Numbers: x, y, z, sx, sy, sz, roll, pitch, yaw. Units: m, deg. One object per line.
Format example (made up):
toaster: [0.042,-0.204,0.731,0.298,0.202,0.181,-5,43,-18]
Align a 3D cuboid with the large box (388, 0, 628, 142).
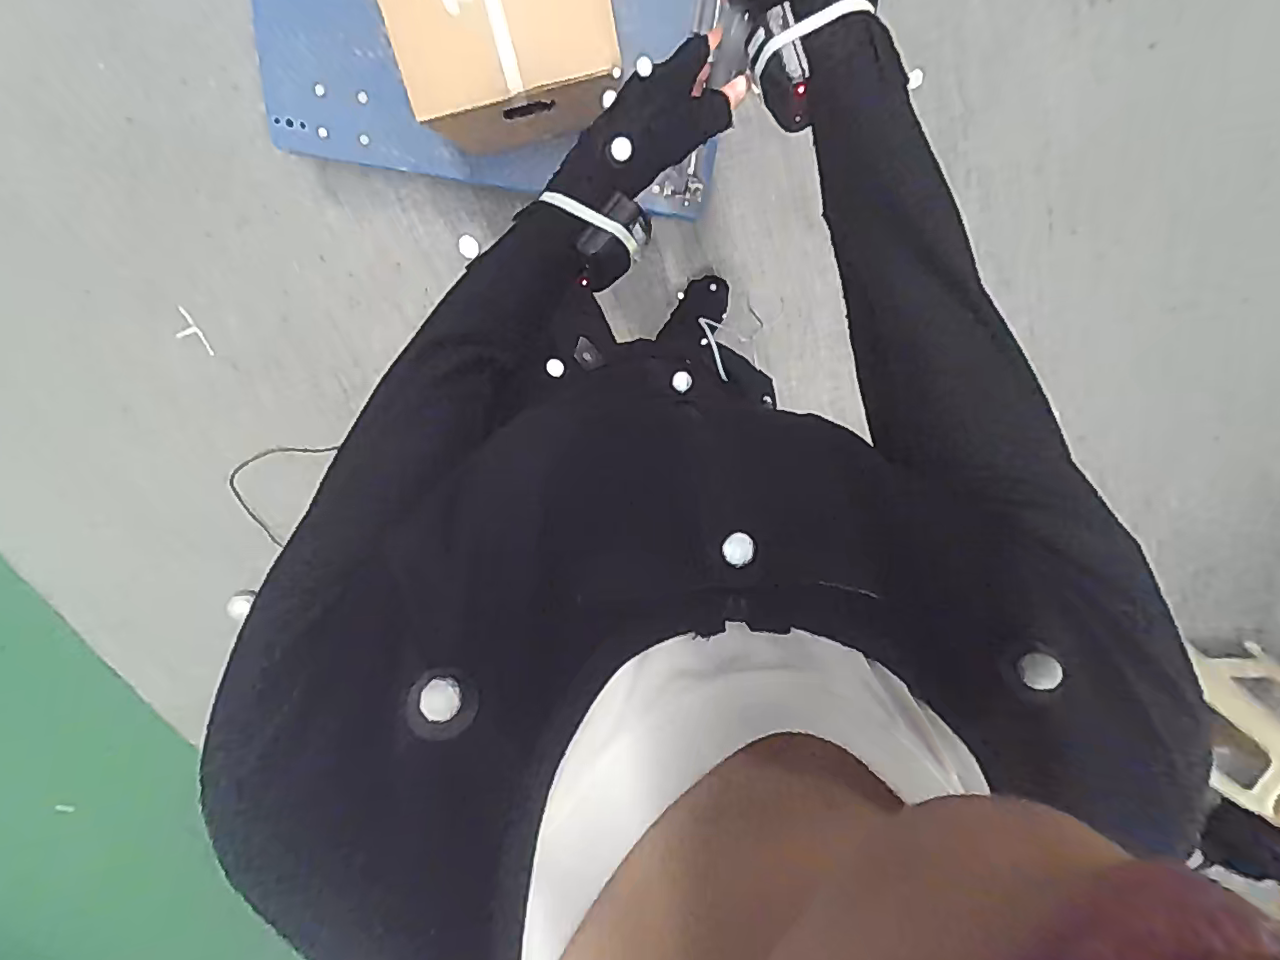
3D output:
large box: [-0.212,-0.804,0.833,0.320,0.320,0.408,-11,114,5]
